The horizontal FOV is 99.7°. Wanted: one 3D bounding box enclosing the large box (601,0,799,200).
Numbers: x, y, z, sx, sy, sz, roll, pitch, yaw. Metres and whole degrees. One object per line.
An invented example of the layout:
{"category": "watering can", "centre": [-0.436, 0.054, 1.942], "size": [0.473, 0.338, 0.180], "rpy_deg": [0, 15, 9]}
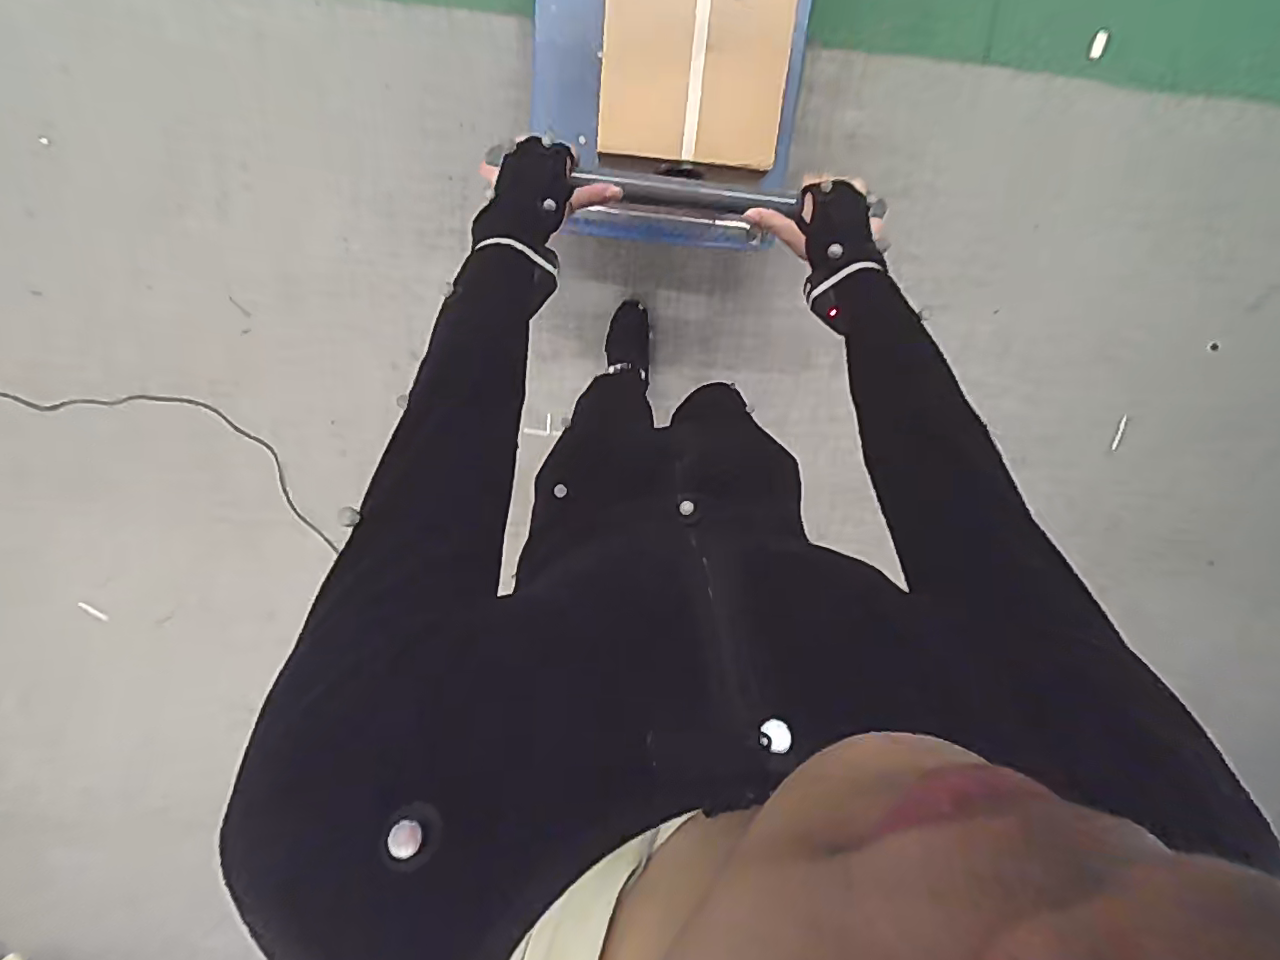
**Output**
{"category": "large box", "centre": [0.097, -0.785, 1.021], "size": [0.320, 0.320, 0.408], "rpy_deg": [4, 107, -4]}
